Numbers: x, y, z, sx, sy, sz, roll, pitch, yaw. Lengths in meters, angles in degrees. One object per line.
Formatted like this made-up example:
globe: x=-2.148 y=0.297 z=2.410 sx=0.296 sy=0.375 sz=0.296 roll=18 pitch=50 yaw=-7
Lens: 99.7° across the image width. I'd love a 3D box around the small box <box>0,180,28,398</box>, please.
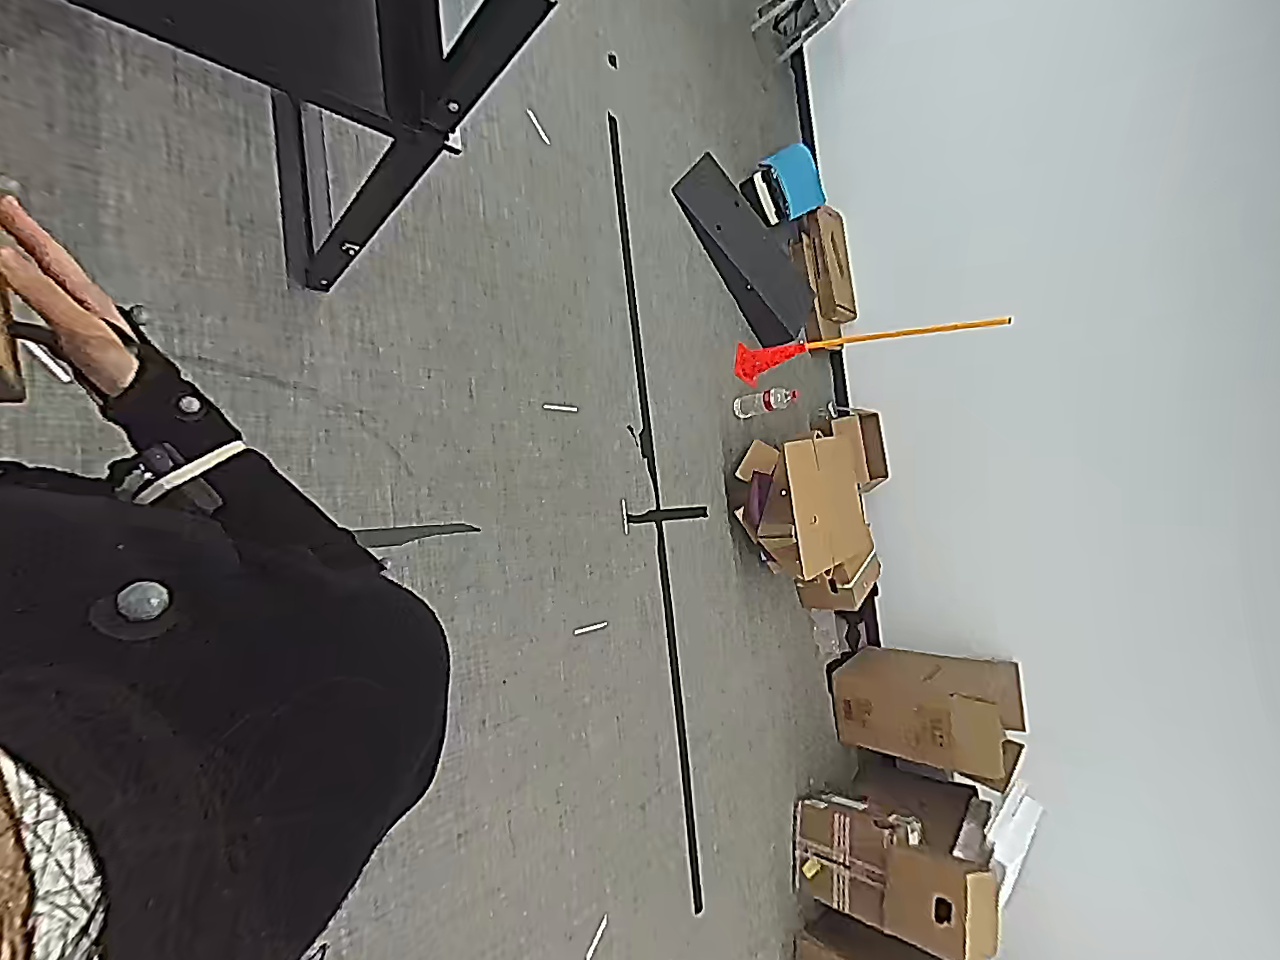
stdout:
small box: x=-0.464 y=-0.142 z=0.290 sx=0.168 sy=0.176 sz=0.179 roll=-9 pitch=95 yaw=-47
